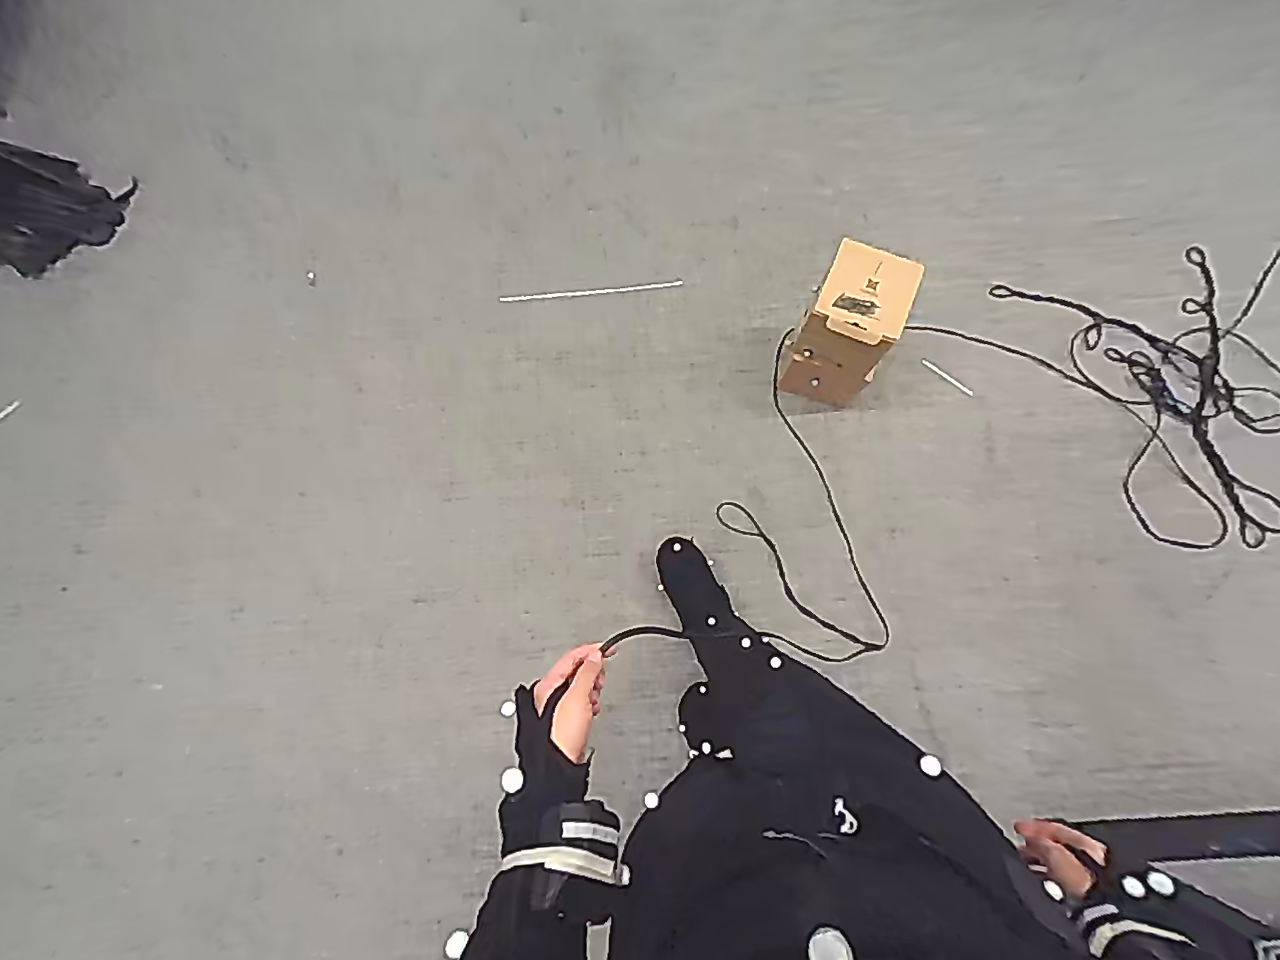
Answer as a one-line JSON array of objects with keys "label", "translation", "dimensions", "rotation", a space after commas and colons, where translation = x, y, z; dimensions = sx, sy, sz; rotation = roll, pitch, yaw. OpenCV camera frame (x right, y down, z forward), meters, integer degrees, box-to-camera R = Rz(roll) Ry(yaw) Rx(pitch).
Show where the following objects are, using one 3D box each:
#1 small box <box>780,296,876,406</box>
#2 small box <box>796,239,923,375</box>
[{"label": "small box", "translation": [0.438, -0.290, 1.250], "dimensions": [0.179, 0.176, 0.168], "rotation": [18, 78, 7]}, {"label": "small box", "translation": [0.431, -0.340, 1.093], "dimensions": [0.168, 0.176, 0.179], "rotation": [23, 78, 7]}]
